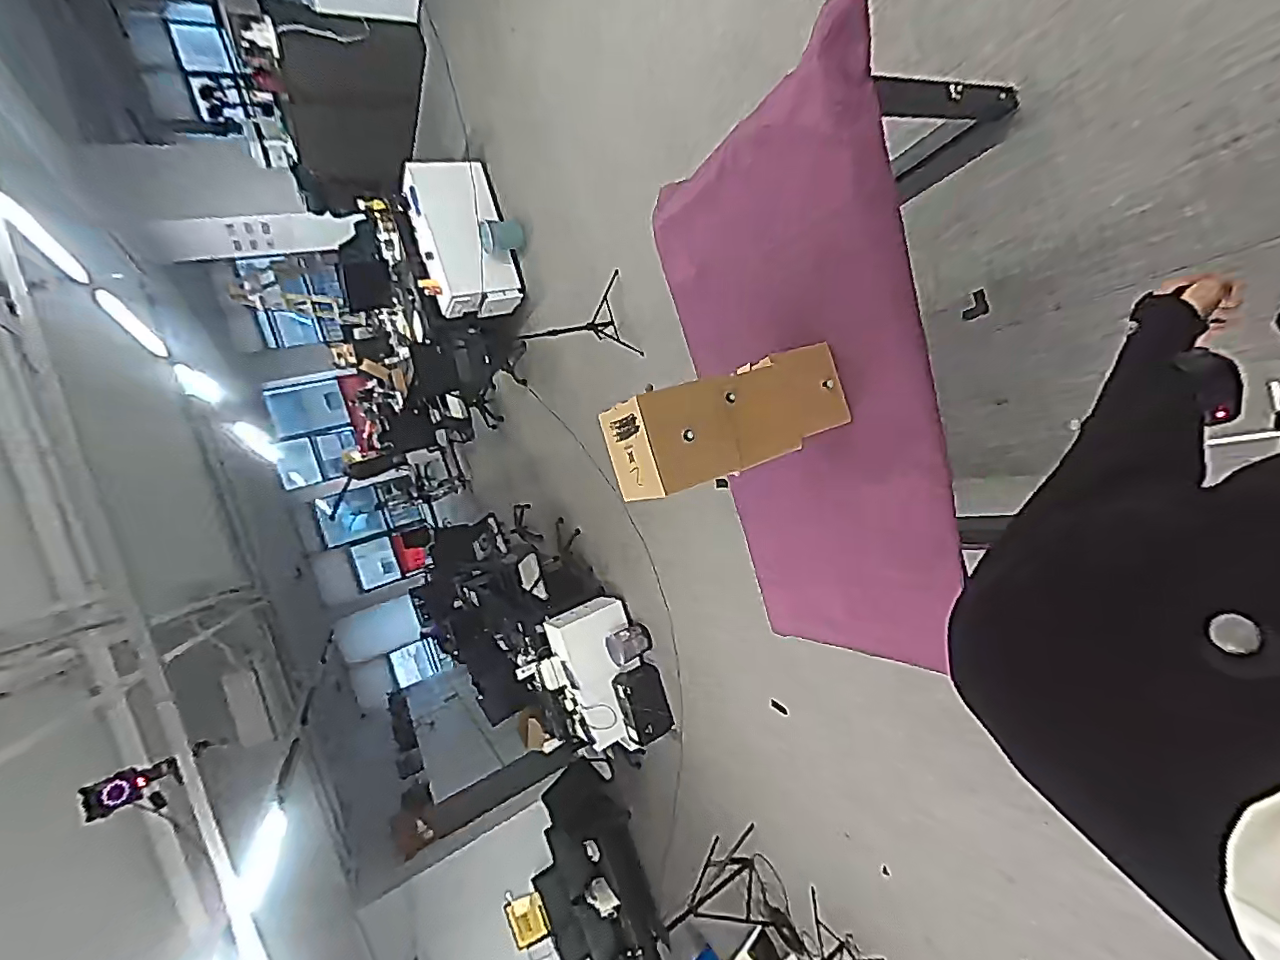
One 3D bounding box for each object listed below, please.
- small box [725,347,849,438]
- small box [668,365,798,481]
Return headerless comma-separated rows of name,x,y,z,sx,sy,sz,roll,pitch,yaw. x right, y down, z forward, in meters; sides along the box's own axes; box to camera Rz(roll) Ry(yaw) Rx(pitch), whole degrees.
small box,0.314,-0.176,1.161,0.168,0.176,0.179,-16,91,64
small box,0.187,-0.112,1.080,0.168,0.176,0.179,-16,92,64
